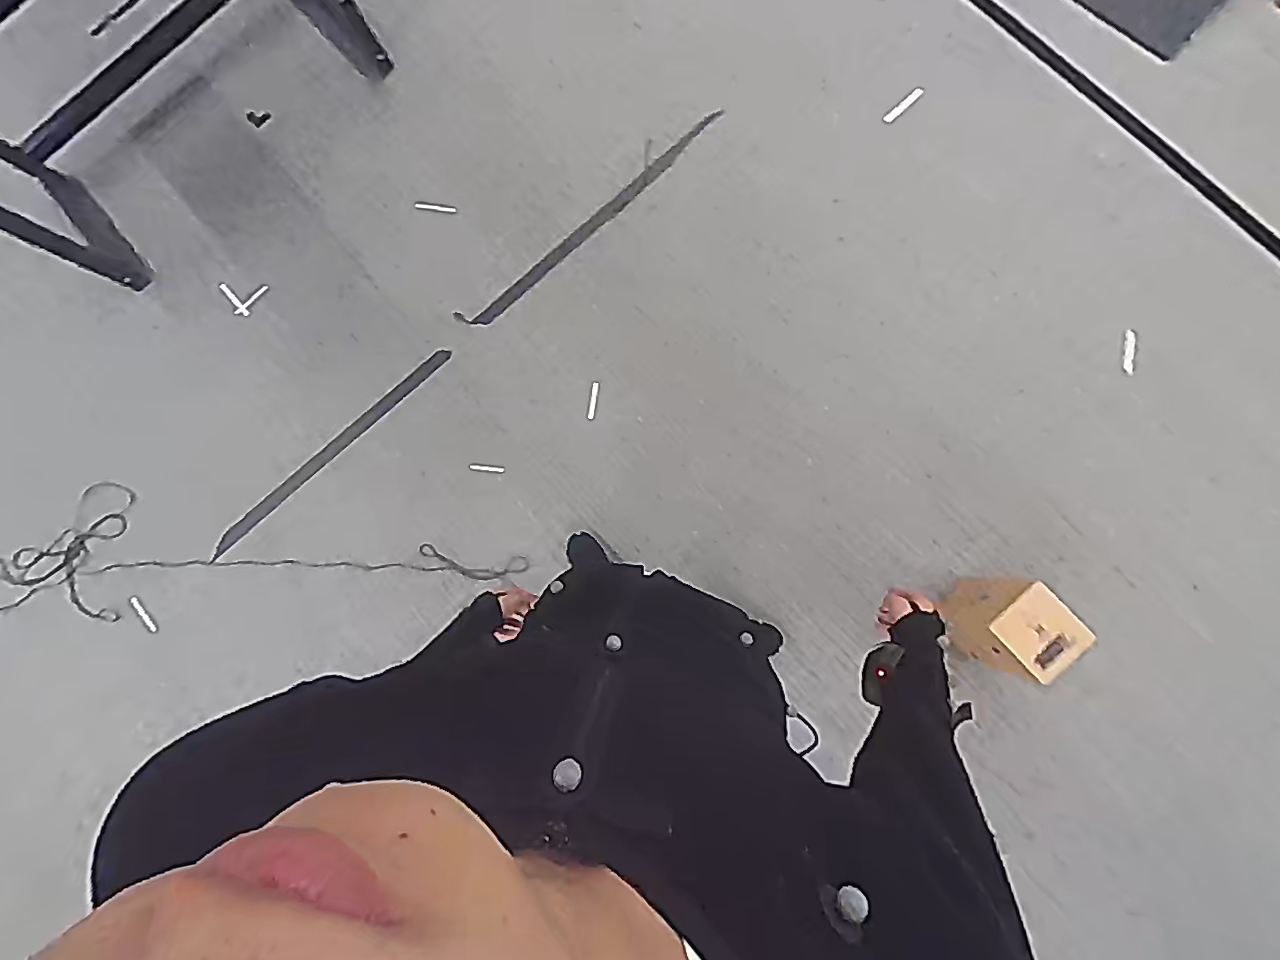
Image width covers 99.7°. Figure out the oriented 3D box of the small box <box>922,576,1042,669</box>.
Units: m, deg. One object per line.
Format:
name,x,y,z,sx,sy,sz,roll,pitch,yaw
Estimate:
small box,0.920,0.377,1.471,0.168,0.176,0.179,-44,83,-2
